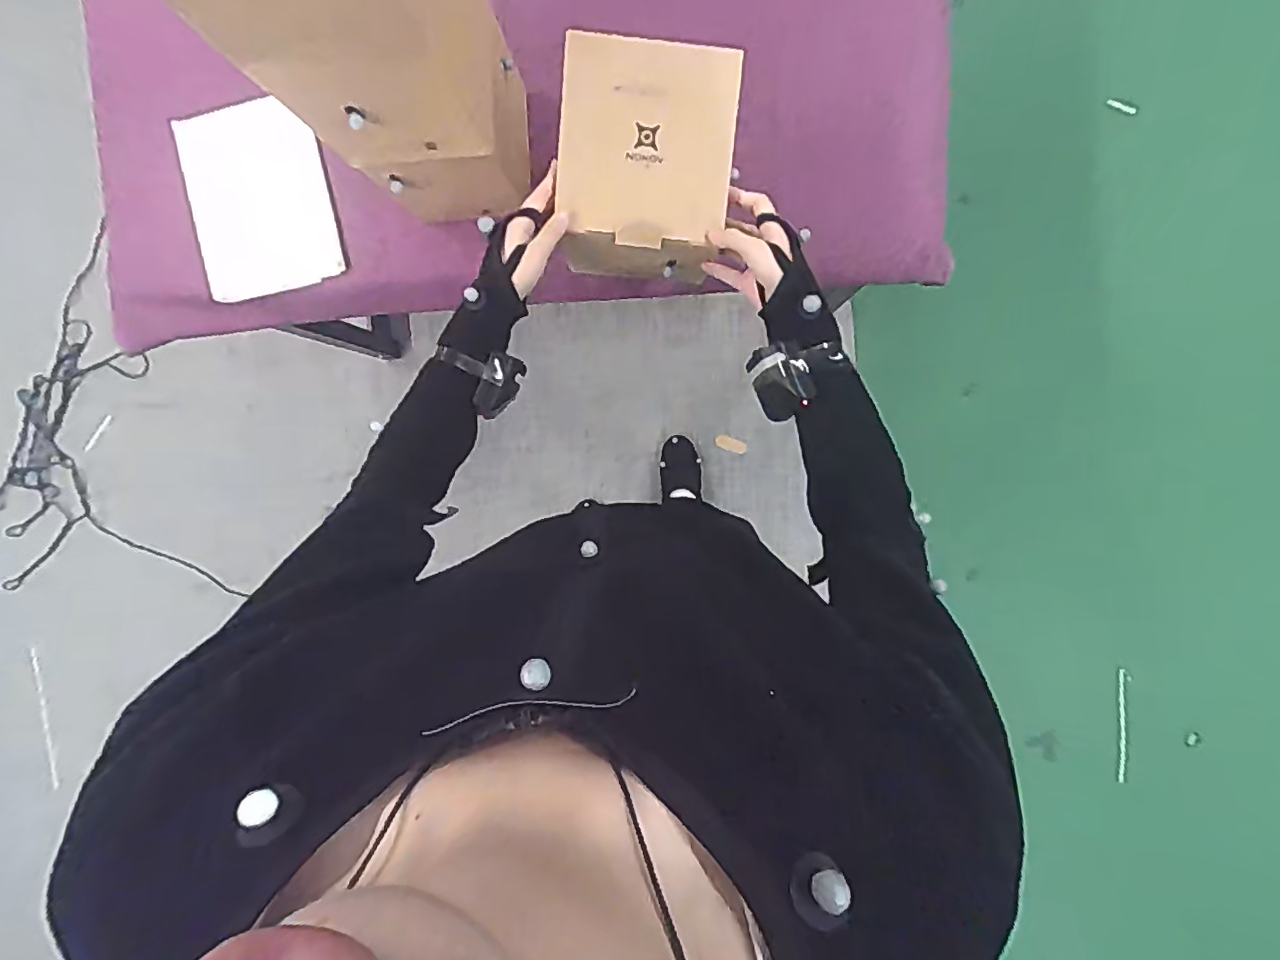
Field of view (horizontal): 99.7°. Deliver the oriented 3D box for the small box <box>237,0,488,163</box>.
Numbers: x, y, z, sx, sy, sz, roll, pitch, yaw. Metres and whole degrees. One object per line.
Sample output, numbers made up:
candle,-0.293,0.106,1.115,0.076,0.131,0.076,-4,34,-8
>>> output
small box,-0.256,-0.435,0.526,0.168,0.176,0.179,-2,92,4
